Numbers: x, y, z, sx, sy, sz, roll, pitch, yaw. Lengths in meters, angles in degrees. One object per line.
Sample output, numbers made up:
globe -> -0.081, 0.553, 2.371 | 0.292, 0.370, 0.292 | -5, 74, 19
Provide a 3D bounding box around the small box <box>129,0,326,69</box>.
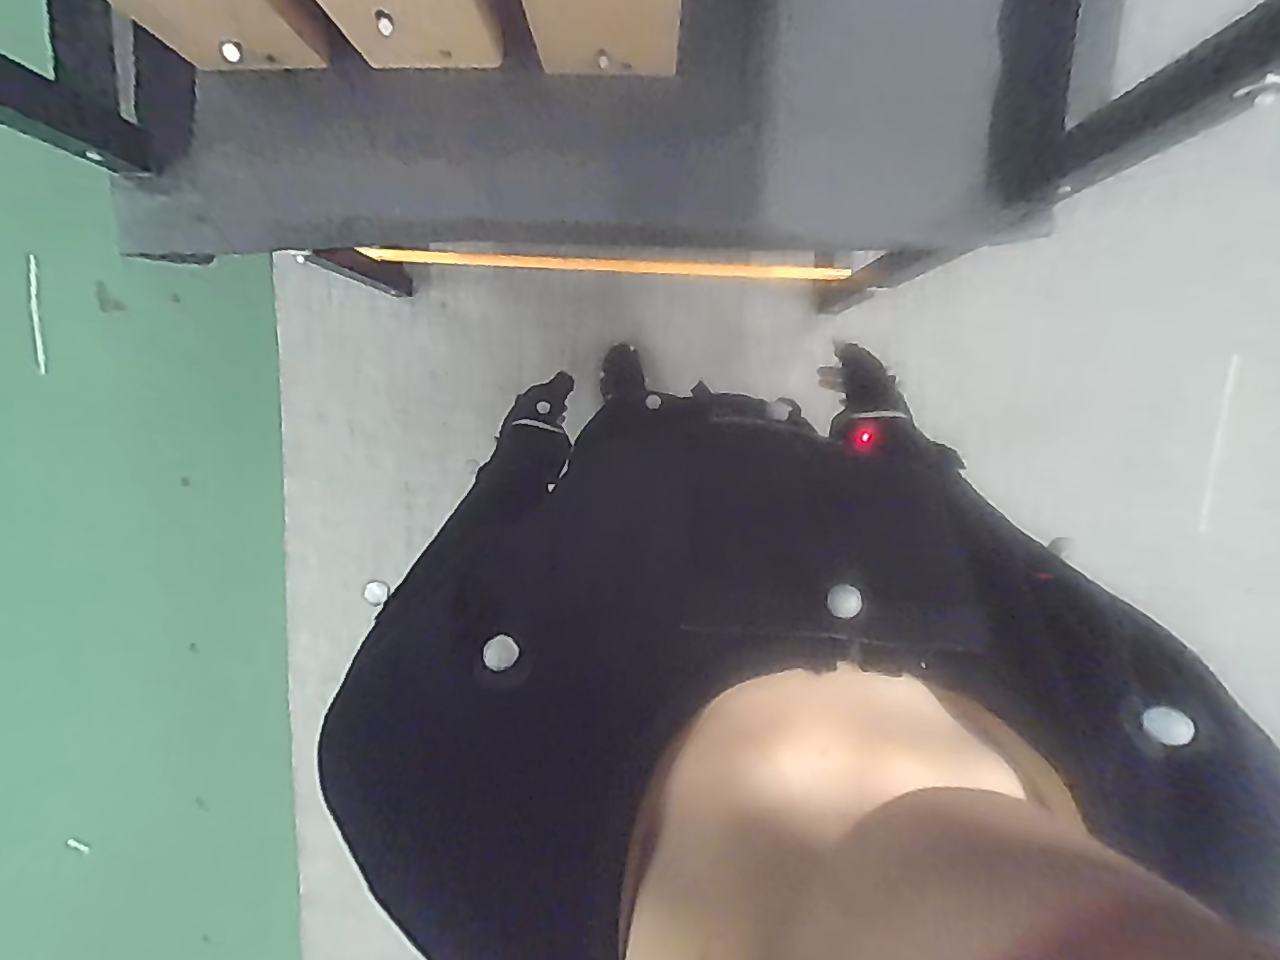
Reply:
small box -> -0.474, -0.595, 0.589 | 0.168, 0.176, 0.179 | 0, 98, 2
